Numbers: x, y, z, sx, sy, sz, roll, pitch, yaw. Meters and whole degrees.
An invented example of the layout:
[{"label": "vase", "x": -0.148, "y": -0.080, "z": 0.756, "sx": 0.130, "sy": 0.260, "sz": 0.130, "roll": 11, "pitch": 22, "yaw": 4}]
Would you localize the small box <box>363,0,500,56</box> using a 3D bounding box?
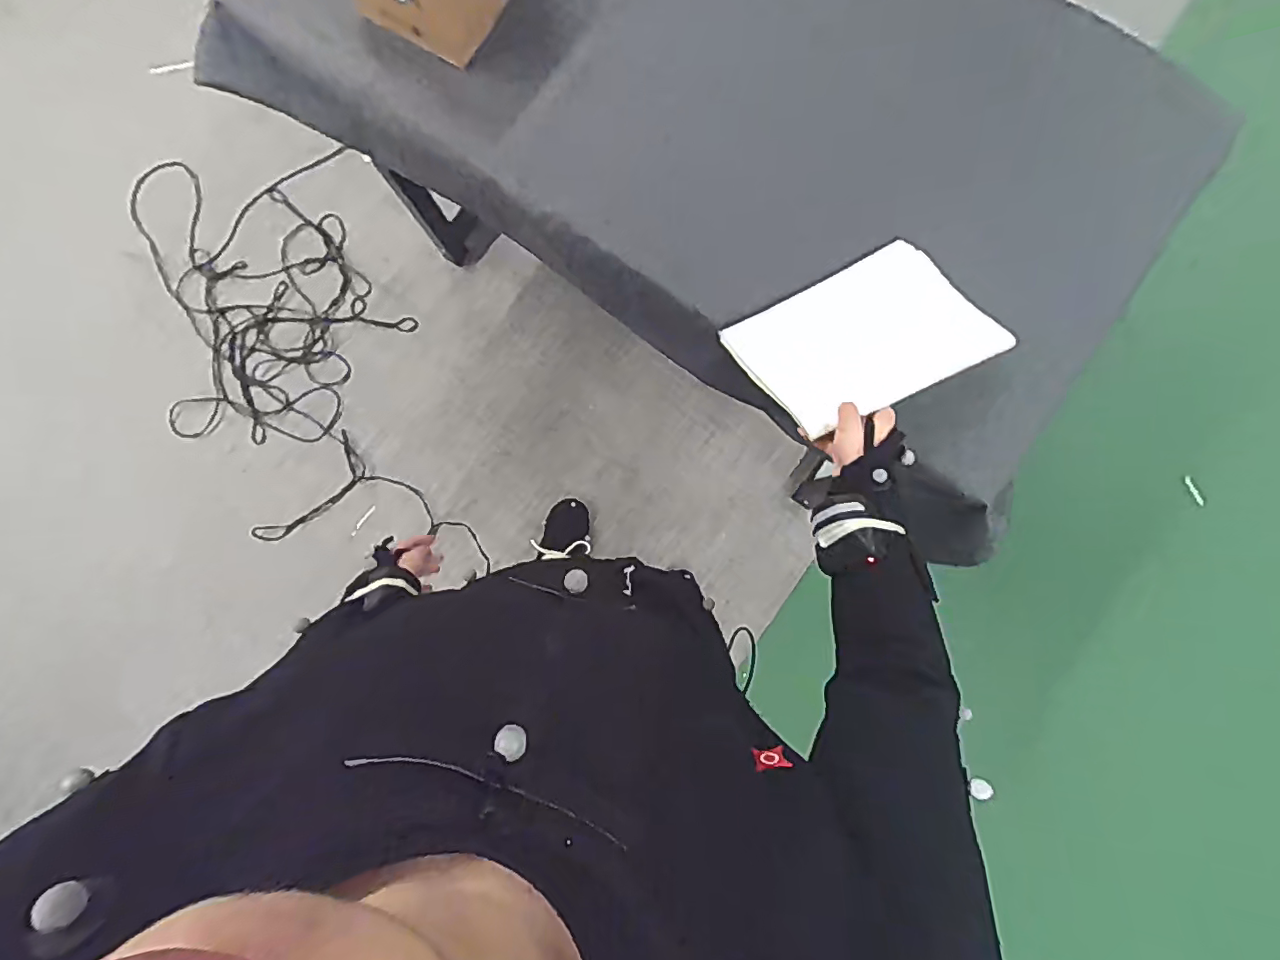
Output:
[{"label": "small box", "x": -0.262, "y": -0.662, "z": 0.633, "sx": 0.168, "sy": 0.176, "sz": 0.179, "roll": 30, "pitch": 85, "yaw": 2}]
